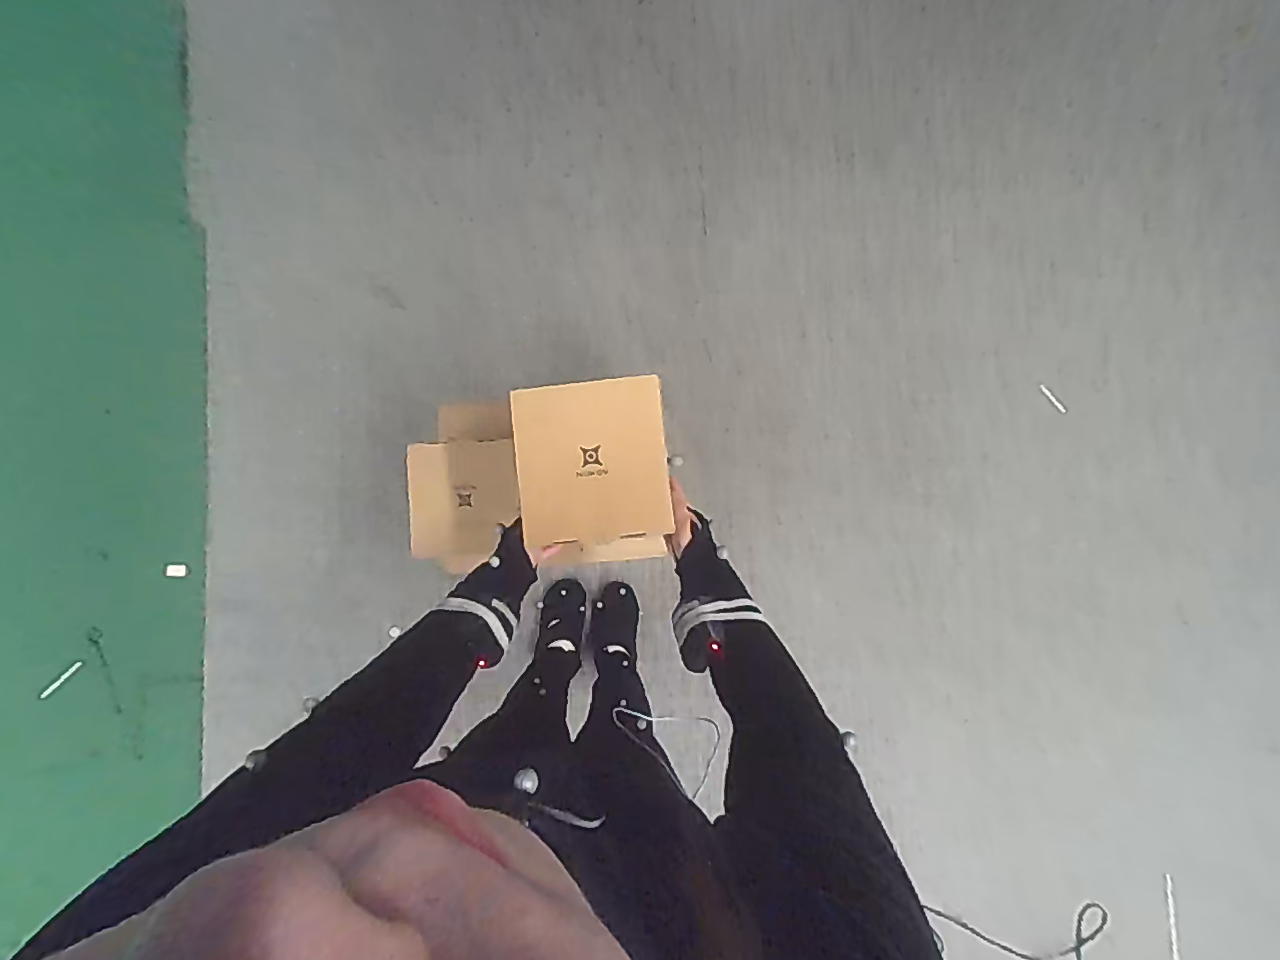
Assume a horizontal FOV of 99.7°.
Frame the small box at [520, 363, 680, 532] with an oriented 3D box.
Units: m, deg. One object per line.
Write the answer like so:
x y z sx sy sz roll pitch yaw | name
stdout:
-0.043 -0.034 0.667 0.168 0.176 0.179 -5 90 2 | small box
